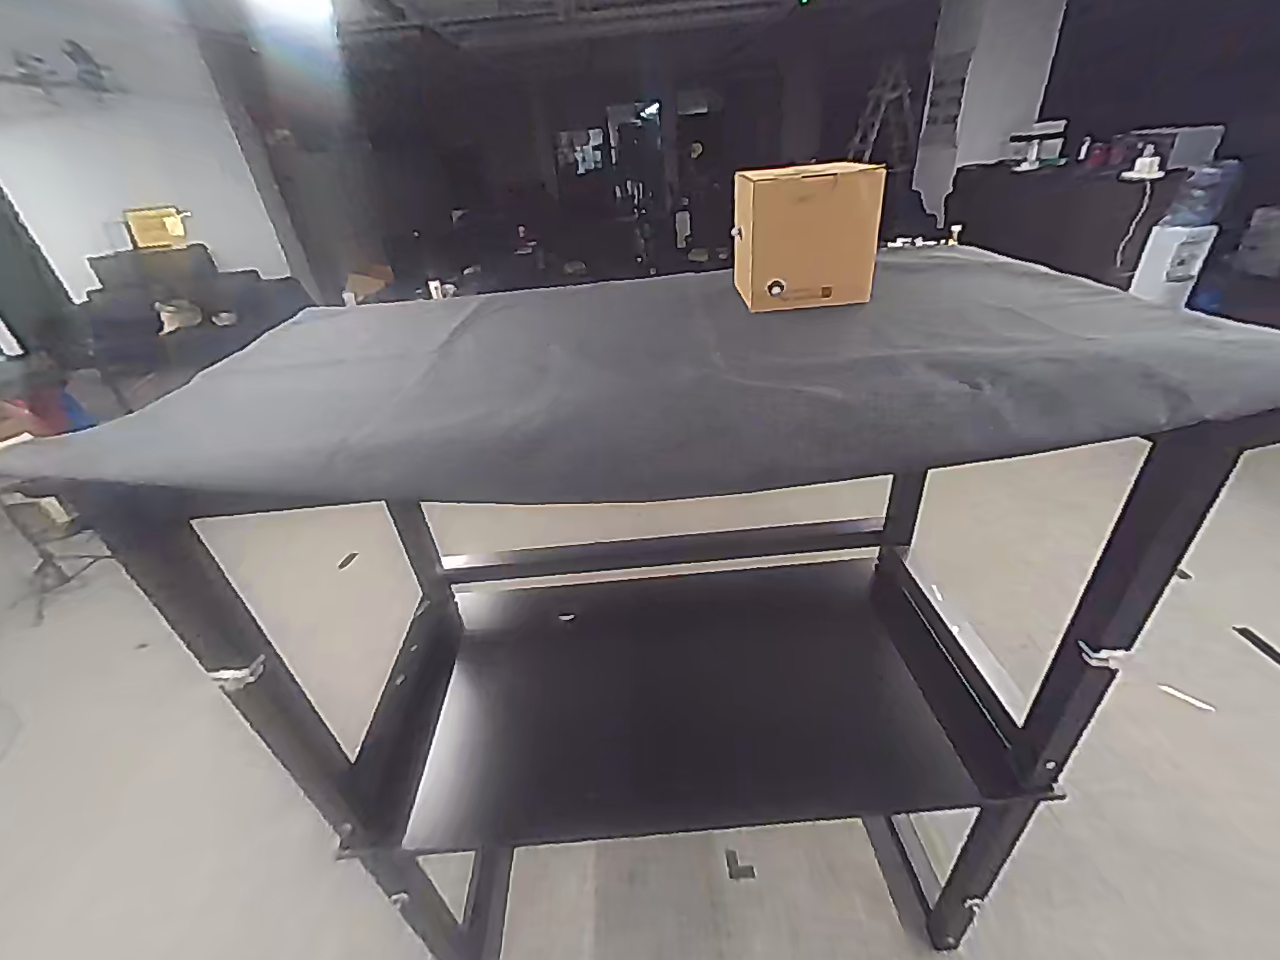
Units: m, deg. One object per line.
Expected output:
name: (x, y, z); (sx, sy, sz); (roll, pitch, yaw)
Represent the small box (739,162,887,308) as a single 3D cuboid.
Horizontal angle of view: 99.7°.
small box: (0.237, -0.353, 0.784); (0.168, 0.176, 0.179); (-3, 32, 3)
